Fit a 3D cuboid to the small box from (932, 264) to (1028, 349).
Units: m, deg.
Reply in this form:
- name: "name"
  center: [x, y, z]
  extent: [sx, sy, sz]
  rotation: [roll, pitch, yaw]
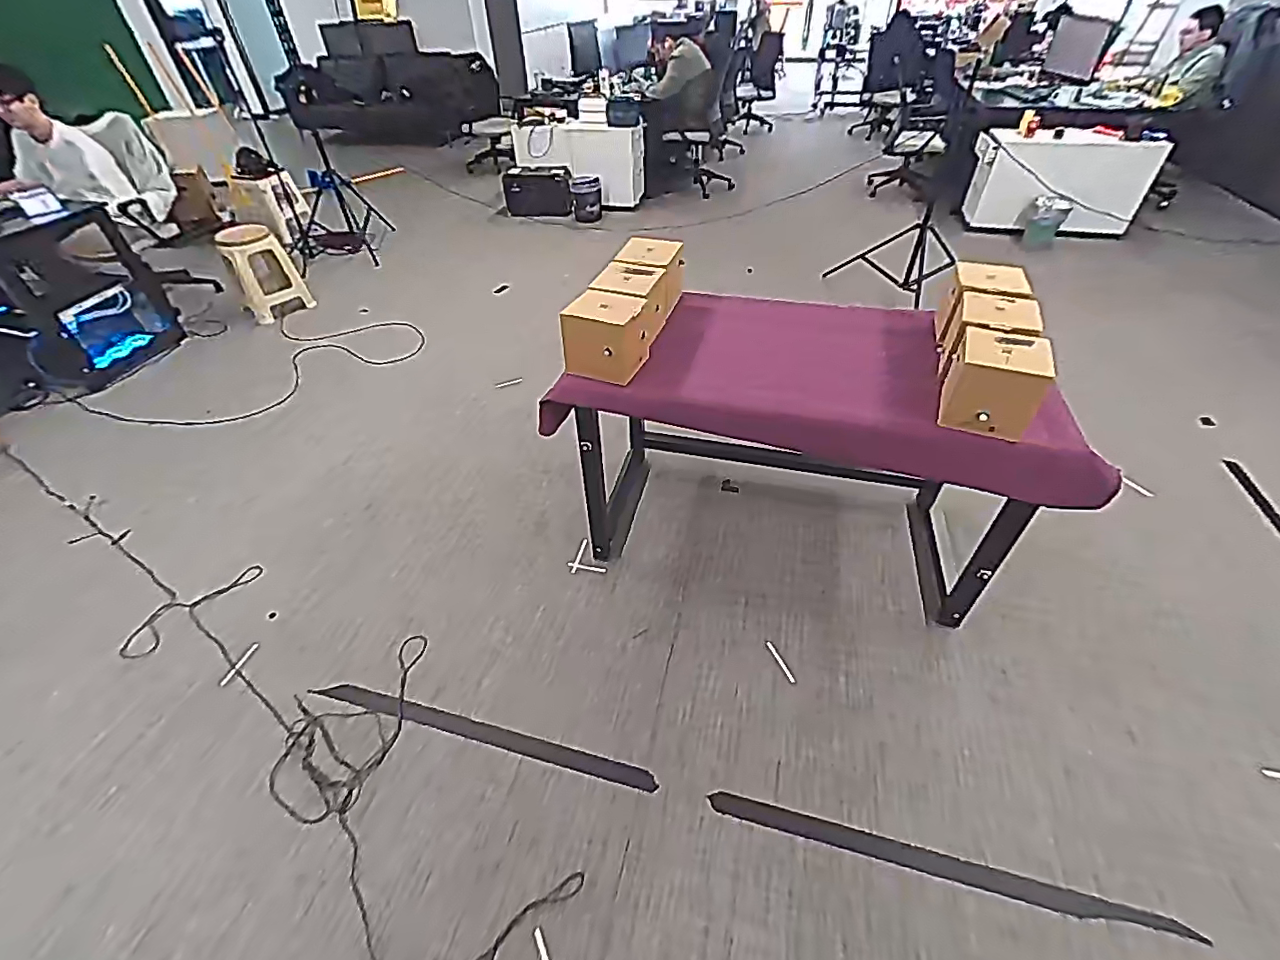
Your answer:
- name: "small box"
  center: [0.914, -0.466, 1.474]
  extent: [0.168, 0.176, 0.179]
  rotation: [12, 44, 14]

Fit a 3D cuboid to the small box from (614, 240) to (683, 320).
- name: "small box"
  center: [0.026, -0.614, 1.657]
  extent: [0.168, 0.176, 0.179]
  rotation: [12, 46, 14]

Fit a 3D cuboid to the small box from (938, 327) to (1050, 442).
- name: "small box"
  center: [0.786, -0.215, 1.210]
  extent: [0.168, 0.176, 0.179]
  rotation: [16, 50, 22]
